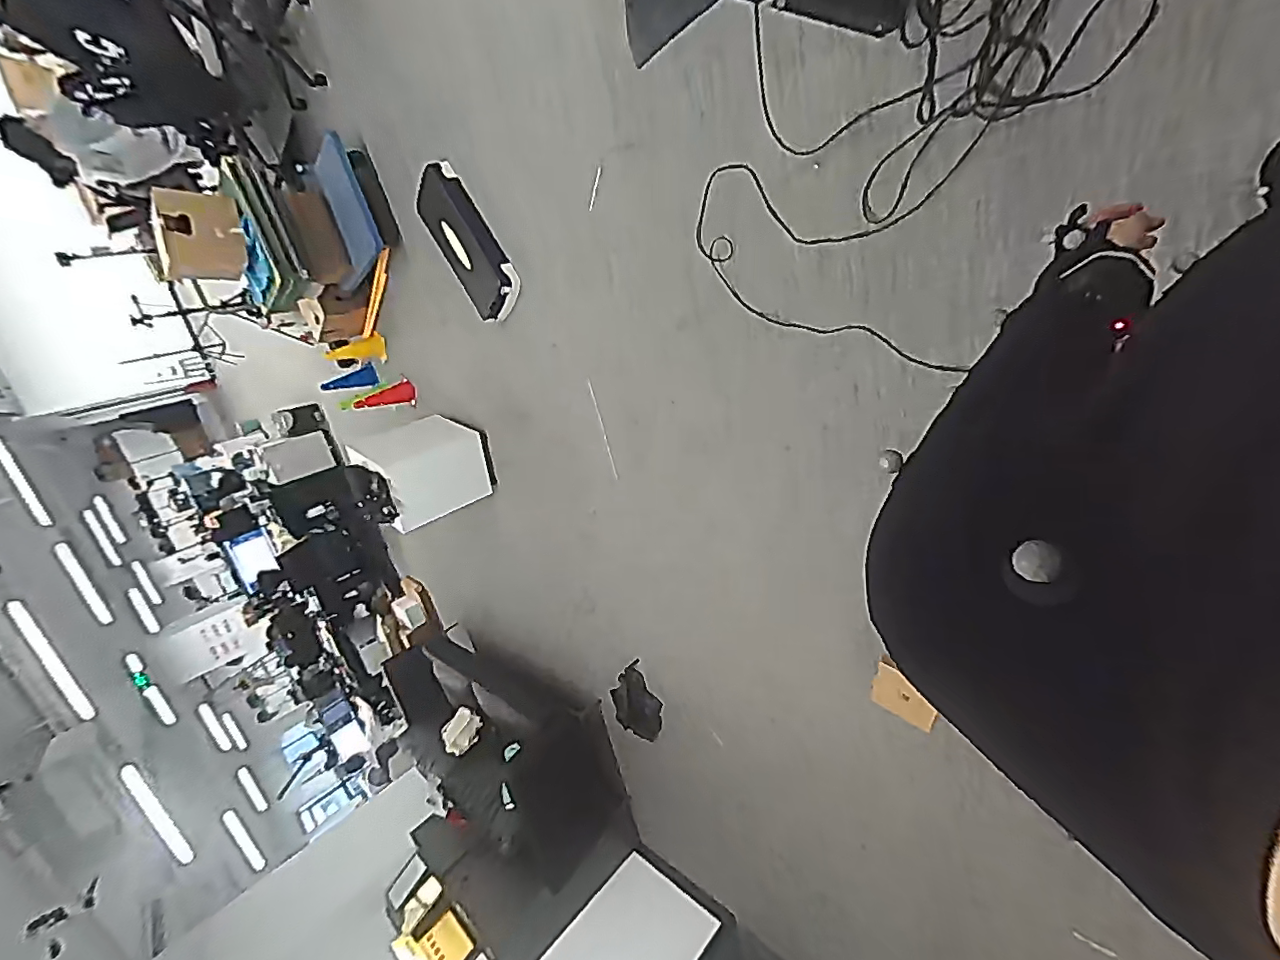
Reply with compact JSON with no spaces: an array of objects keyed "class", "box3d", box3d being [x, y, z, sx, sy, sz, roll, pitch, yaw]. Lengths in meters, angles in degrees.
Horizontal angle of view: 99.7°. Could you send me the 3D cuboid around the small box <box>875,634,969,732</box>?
[{"class":"small box","box3d":[0.815,0.576,1.567,0.179,0.176,0.168,24,130,38]}]
